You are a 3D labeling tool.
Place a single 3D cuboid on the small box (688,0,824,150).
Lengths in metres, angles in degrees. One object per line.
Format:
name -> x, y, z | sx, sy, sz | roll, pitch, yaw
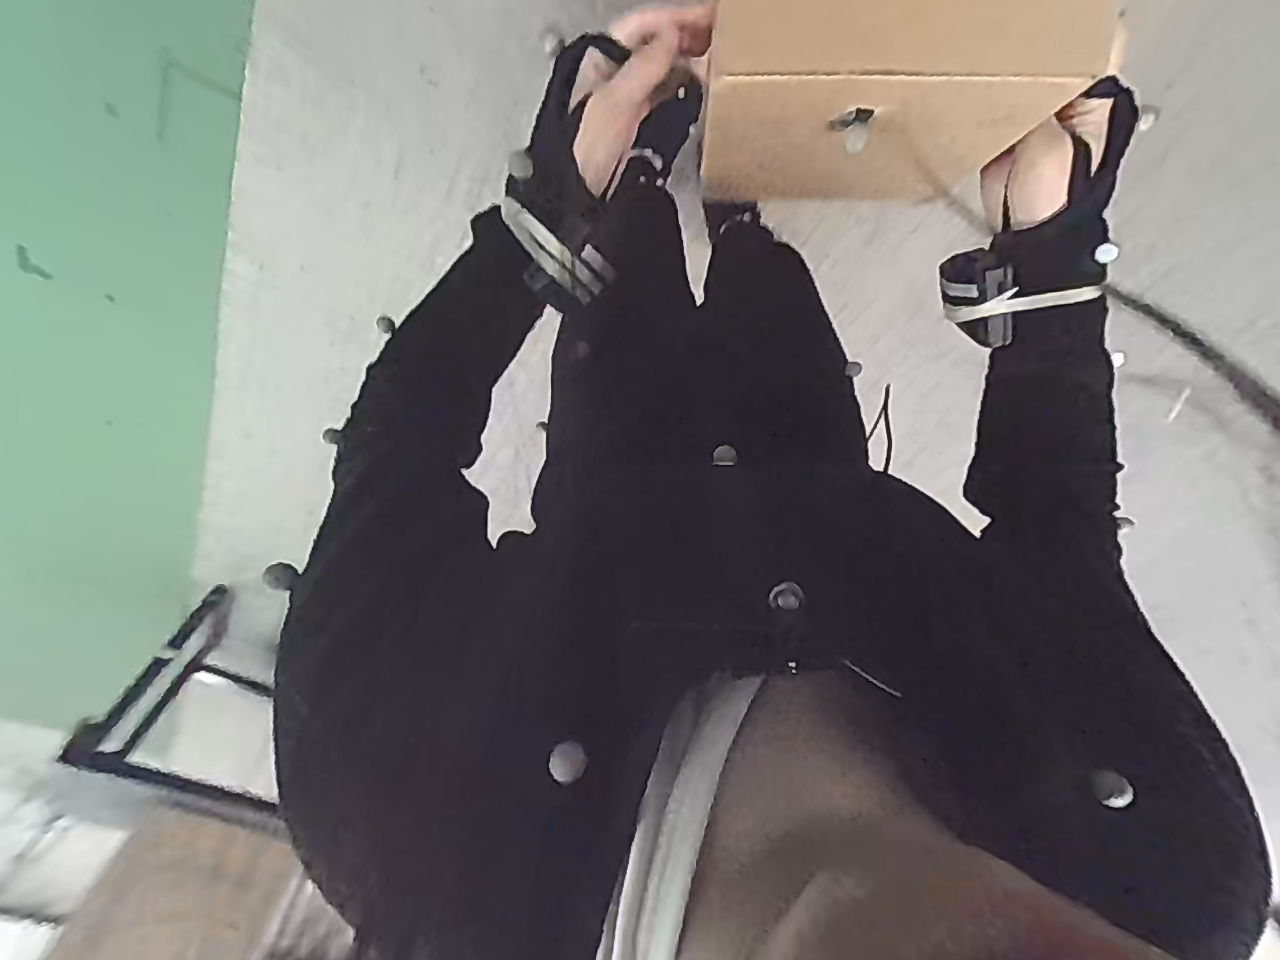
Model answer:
small box -> 0.205, -0.754, 0.995 | 0.179, 0.176, 0.168 | 33, 123, -20
